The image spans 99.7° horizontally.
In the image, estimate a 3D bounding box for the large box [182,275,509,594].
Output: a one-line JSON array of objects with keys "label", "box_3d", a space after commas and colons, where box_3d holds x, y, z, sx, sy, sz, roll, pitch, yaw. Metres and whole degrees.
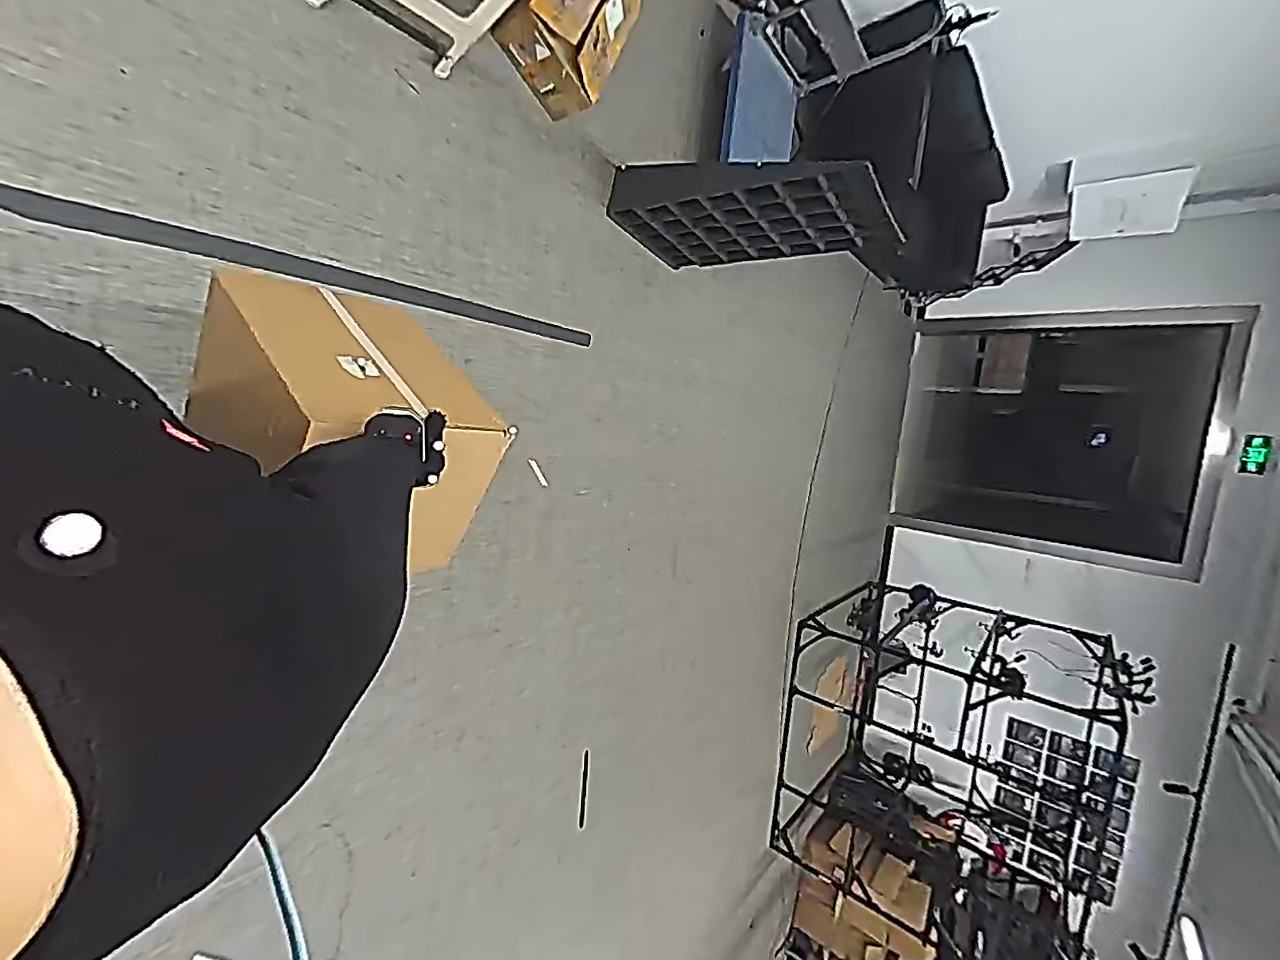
[{"label": "large box", "box_3d": [-0.509, -0.077, 0.923, 0.320, 0.408, 0.320, -4, 134, -54]}]
